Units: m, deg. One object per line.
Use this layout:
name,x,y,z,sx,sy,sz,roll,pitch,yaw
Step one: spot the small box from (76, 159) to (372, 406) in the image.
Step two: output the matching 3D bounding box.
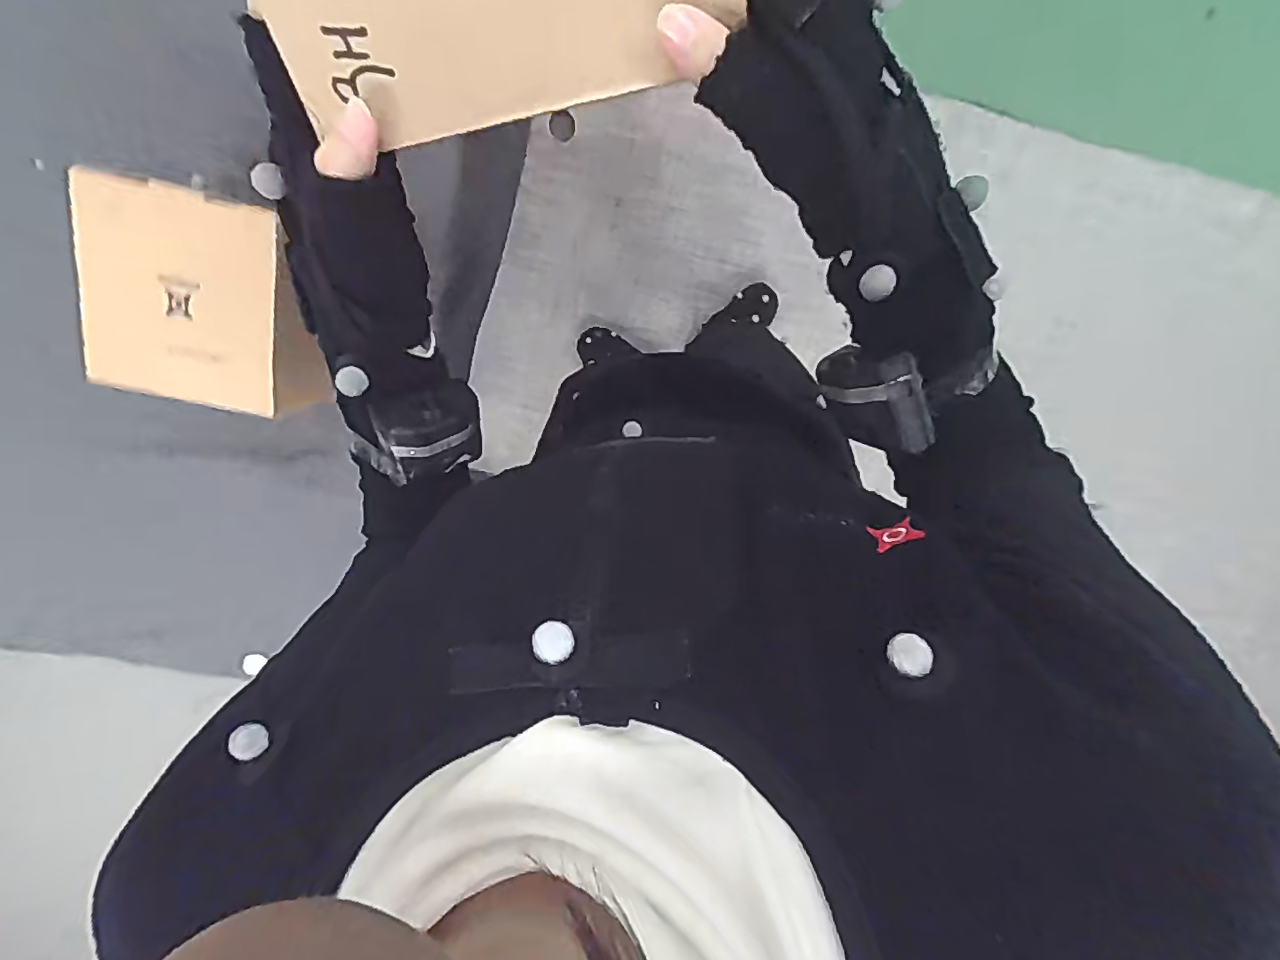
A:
small box,-0.390,-0.190,0.543,0.168,0.176,0.179,12,110,-3

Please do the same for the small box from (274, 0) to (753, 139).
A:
small box,-0.058,-0.263,0.233,0.179,0.176,0.168,-9,126,3
